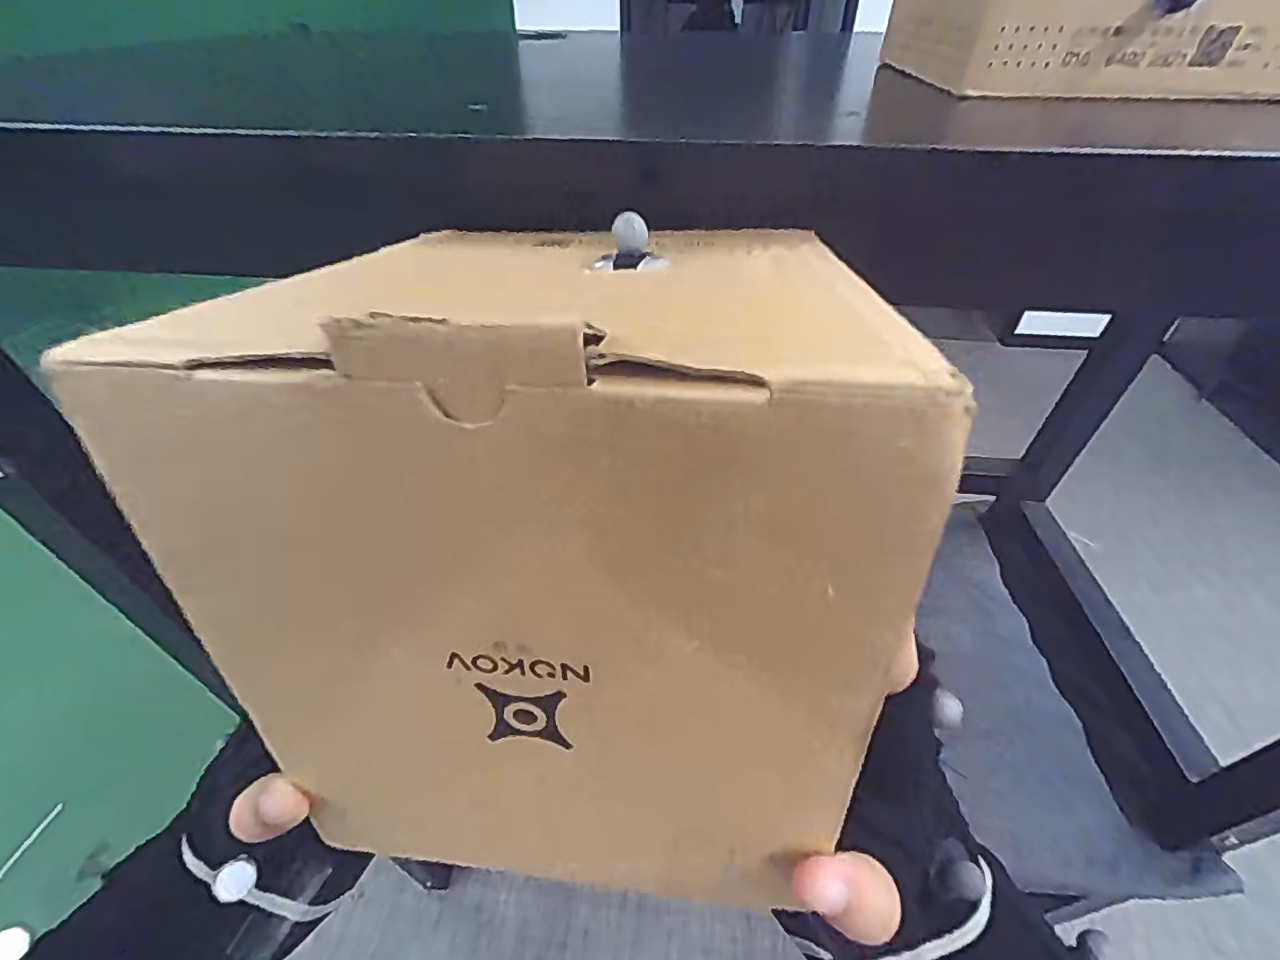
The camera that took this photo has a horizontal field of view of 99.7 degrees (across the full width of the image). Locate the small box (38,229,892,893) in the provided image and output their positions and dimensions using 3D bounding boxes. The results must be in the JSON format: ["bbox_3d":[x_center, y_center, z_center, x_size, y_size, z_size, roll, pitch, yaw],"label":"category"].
[{"bbox_3d":[-0.025,0.010,0.206,0.168,0.179,0.176,2,30,8],"label":"small box"}]
